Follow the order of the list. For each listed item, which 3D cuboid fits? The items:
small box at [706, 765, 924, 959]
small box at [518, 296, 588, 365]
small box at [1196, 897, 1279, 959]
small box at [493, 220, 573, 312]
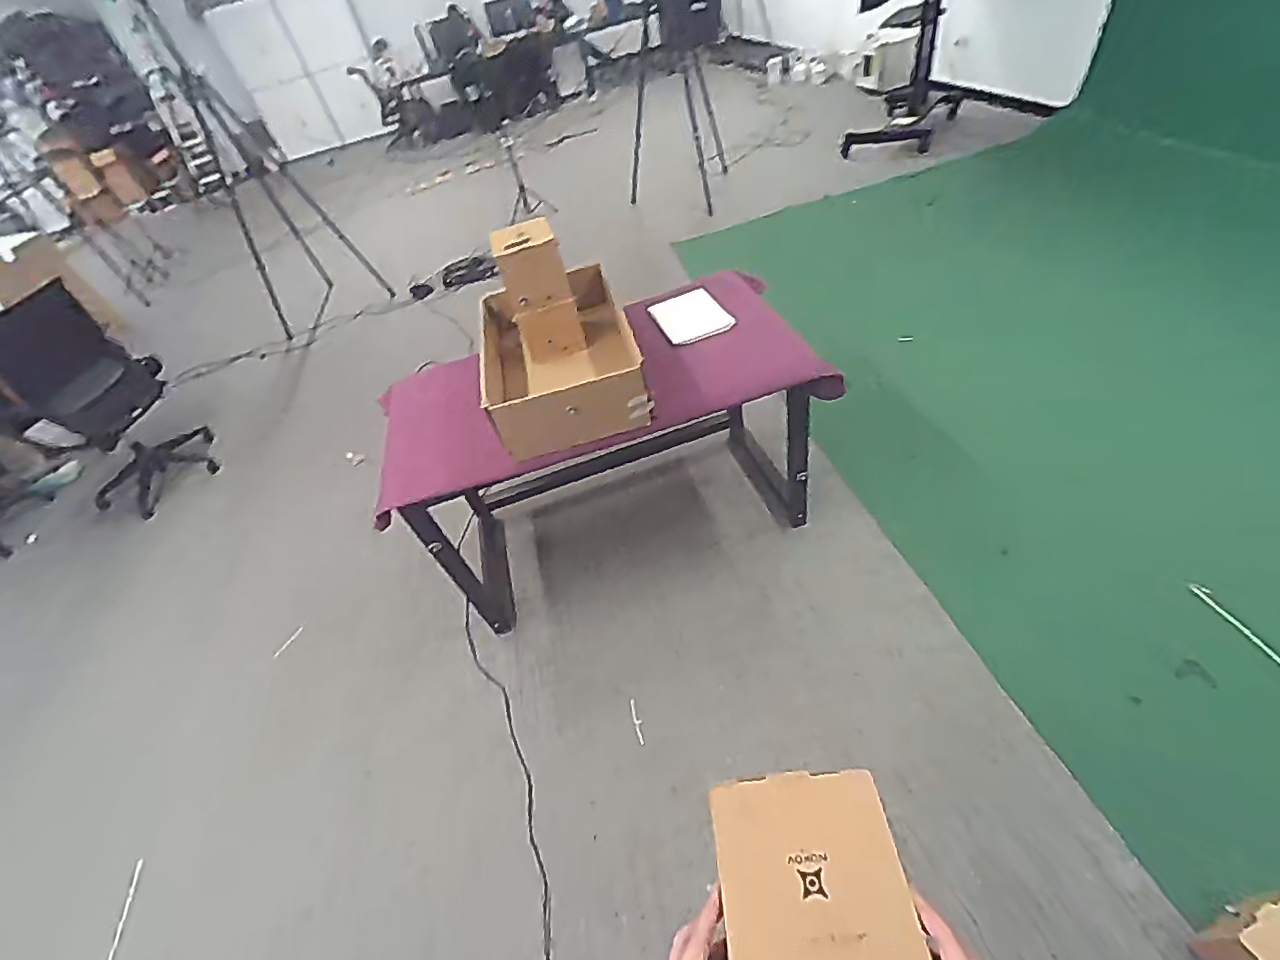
[{"bbox_3d":[0.157,0.413,0.542,0.168,0.176,0.179,-7,43,4],"label":"small box"},{"bbox_3d":[-0.264,-0.472,1.614,0.168,0.176,0.179,-18,47,-3],"label":"small box"},{"bbox_3d":[1.194,0.902,0.983,0.168,0.176,0.179,-26,46,-10],"label":"small box"},{"bbox_3d":[-0.295,-0.588,1.501,0.168,0.176,0.179,-18,46,-4],"label":"small box"}]
